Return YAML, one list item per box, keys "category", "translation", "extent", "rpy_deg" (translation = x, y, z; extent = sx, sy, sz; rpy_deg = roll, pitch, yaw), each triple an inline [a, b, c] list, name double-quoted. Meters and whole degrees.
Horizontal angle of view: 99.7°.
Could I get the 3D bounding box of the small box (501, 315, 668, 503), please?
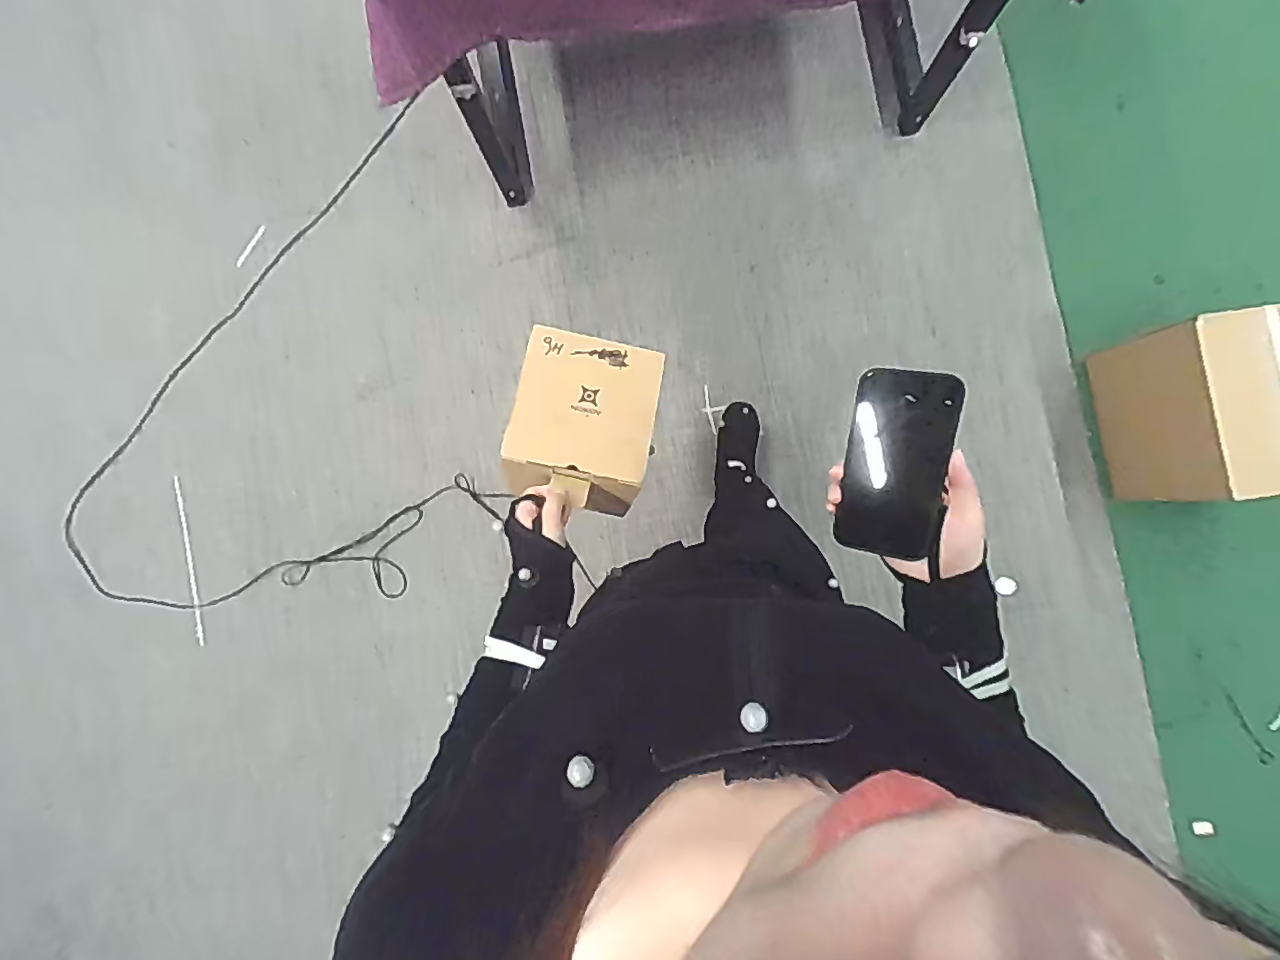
- category: "small box"
  translation: [-0.071, -0.079, 0.703]
  extent: [0.168, 0.176, 0.179]
  rpy_deg: [12, 74, -5]
